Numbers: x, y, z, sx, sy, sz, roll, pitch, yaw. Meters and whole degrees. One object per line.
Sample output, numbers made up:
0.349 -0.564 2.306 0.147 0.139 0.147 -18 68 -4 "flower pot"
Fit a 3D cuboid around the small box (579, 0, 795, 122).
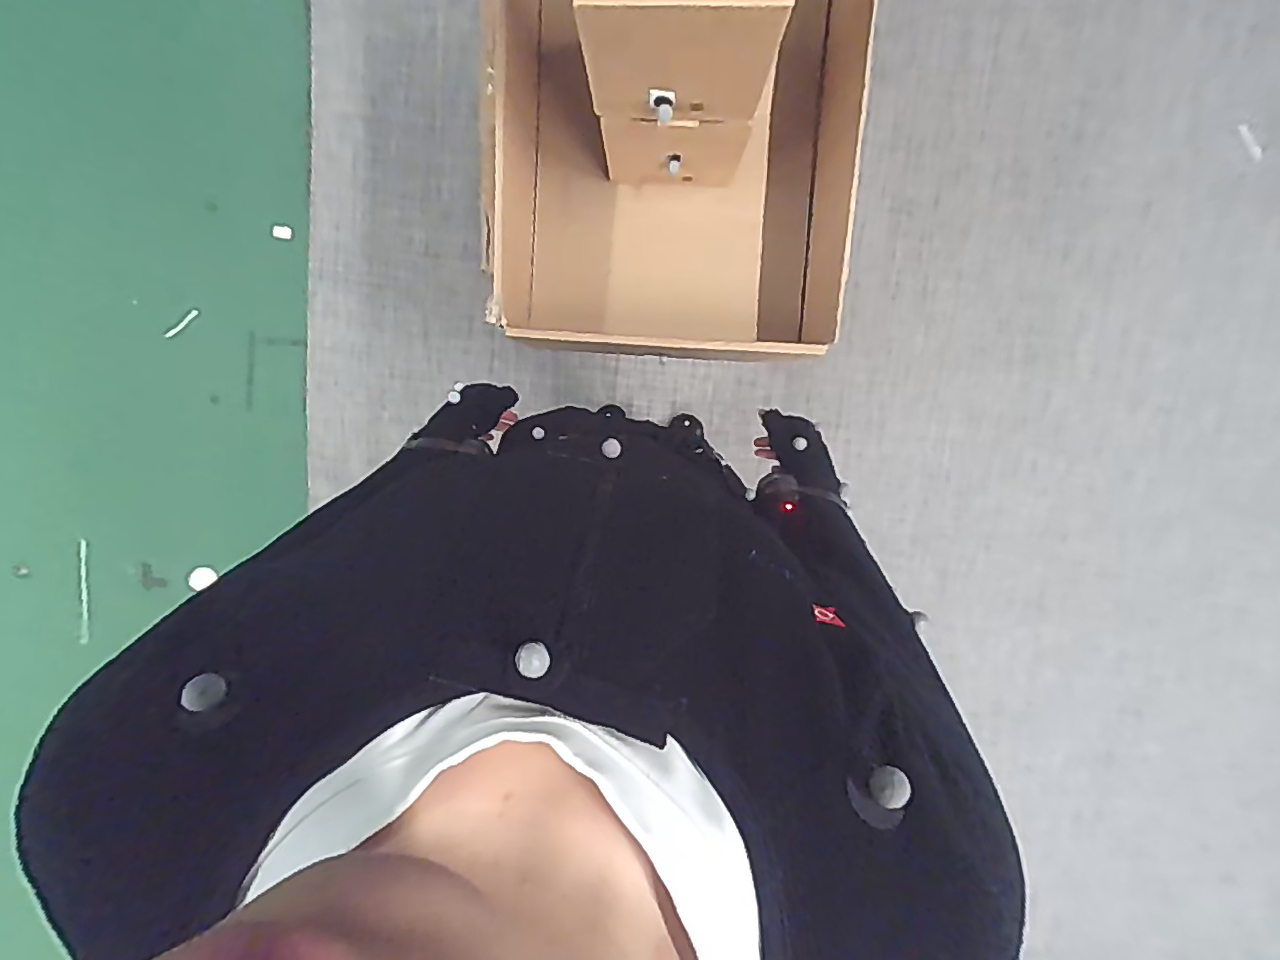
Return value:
0.038 -0.446 0.464 0.168 0.176 0.179 2 99 2 "small box"
